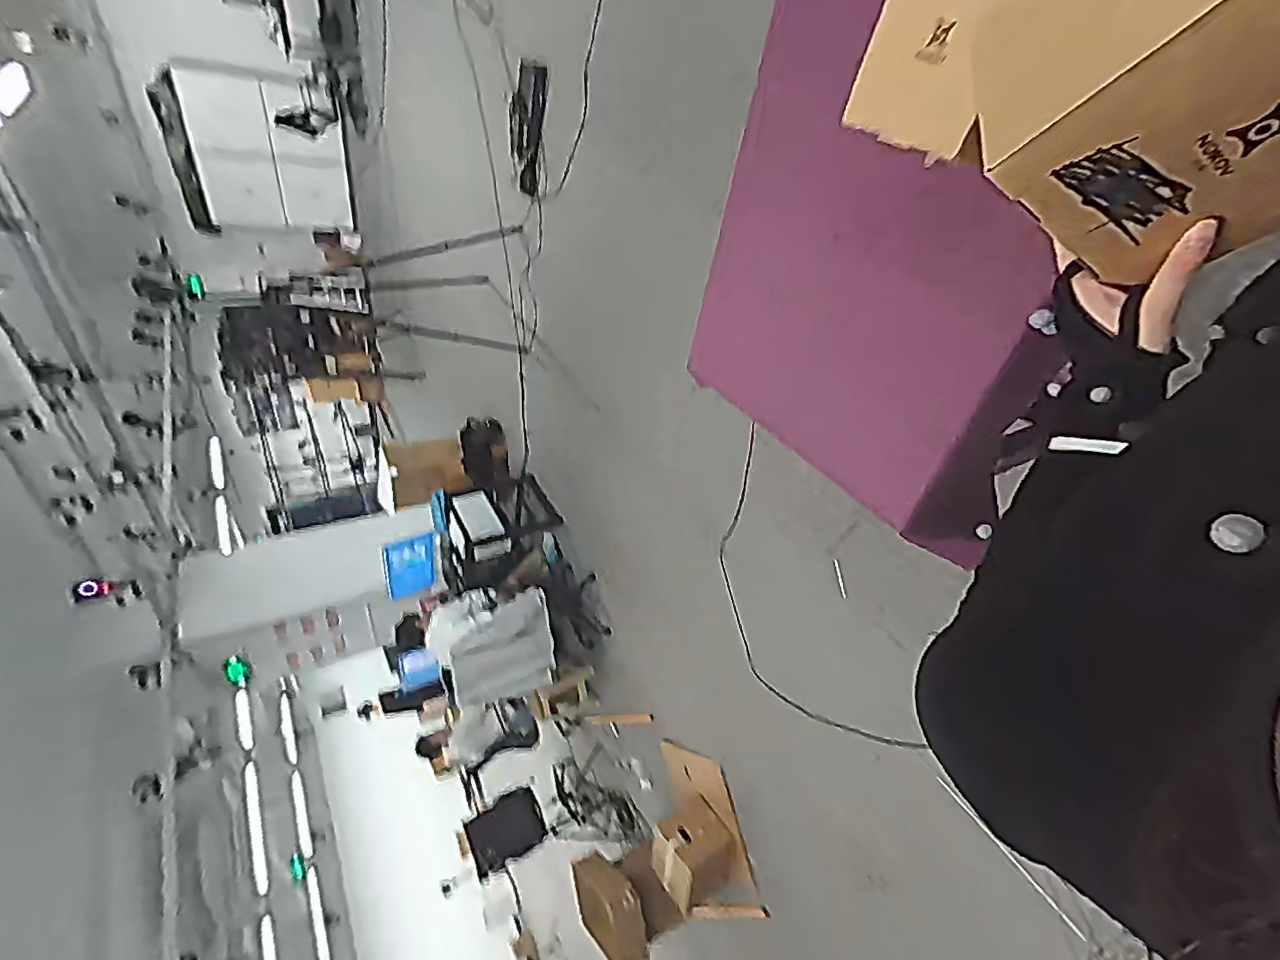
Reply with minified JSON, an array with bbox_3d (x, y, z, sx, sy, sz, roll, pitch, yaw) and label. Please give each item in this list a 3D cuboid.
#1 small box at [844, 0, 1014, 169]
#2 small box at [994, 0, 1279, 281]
[{"bbox_3d":[0.375,-0.469,0.606,0.168,0.176,0.179,51,142,35],"label":"small box"},{"bbox_3d":[0.343,-0.267,0.322,0.179,0.168,0.176,-28,45,55],"label":"small box"}]
